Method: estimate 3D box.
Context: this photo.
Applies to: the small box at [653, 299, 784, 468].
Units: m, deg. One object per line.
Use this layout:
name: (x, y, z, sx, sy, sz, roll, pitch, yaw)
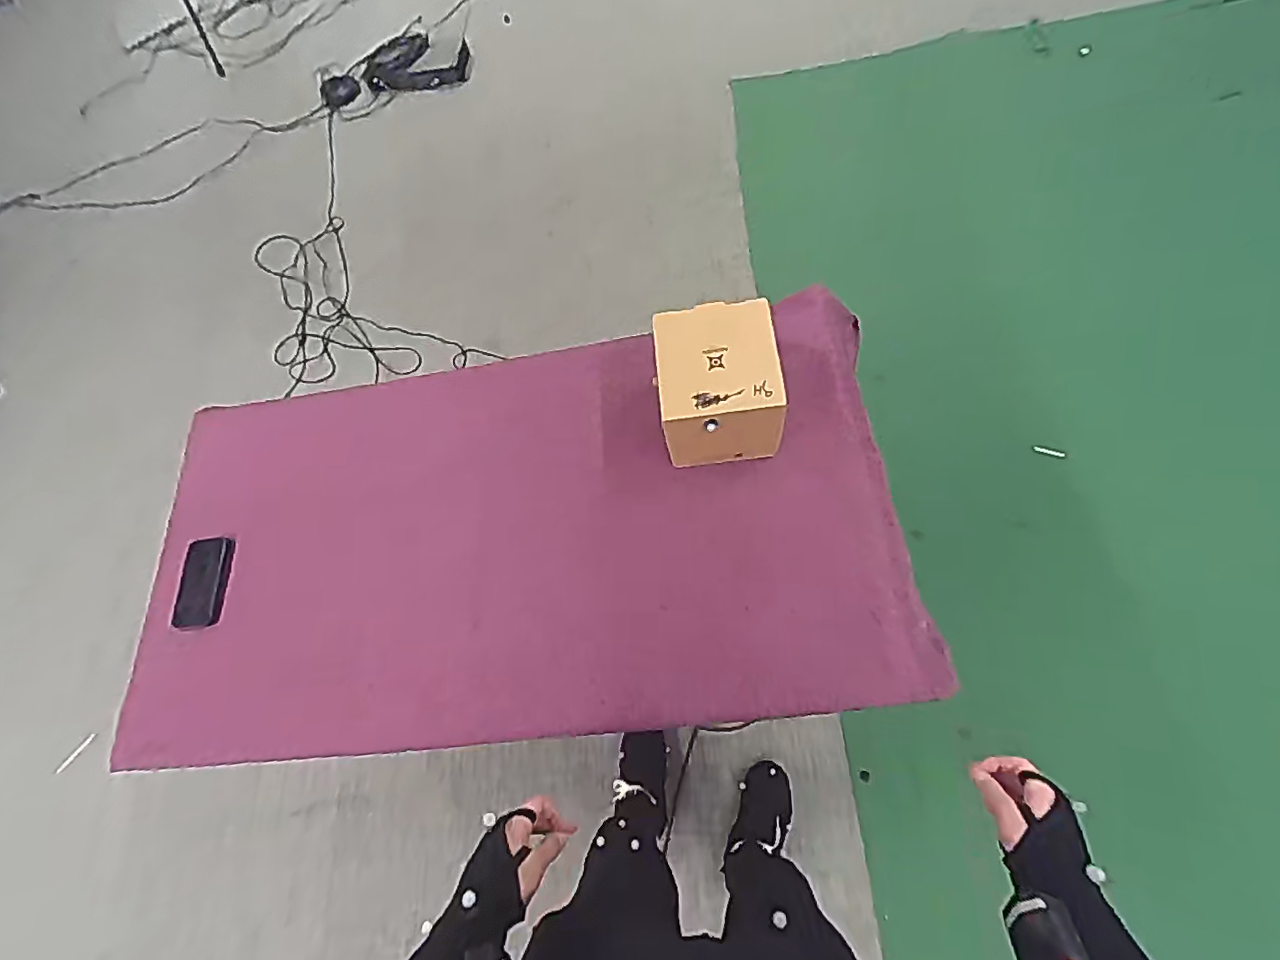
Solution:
small box: (0.114, -0.136, 0.808, 0.168, 0.176, 0.179, -7, 68, 8)
